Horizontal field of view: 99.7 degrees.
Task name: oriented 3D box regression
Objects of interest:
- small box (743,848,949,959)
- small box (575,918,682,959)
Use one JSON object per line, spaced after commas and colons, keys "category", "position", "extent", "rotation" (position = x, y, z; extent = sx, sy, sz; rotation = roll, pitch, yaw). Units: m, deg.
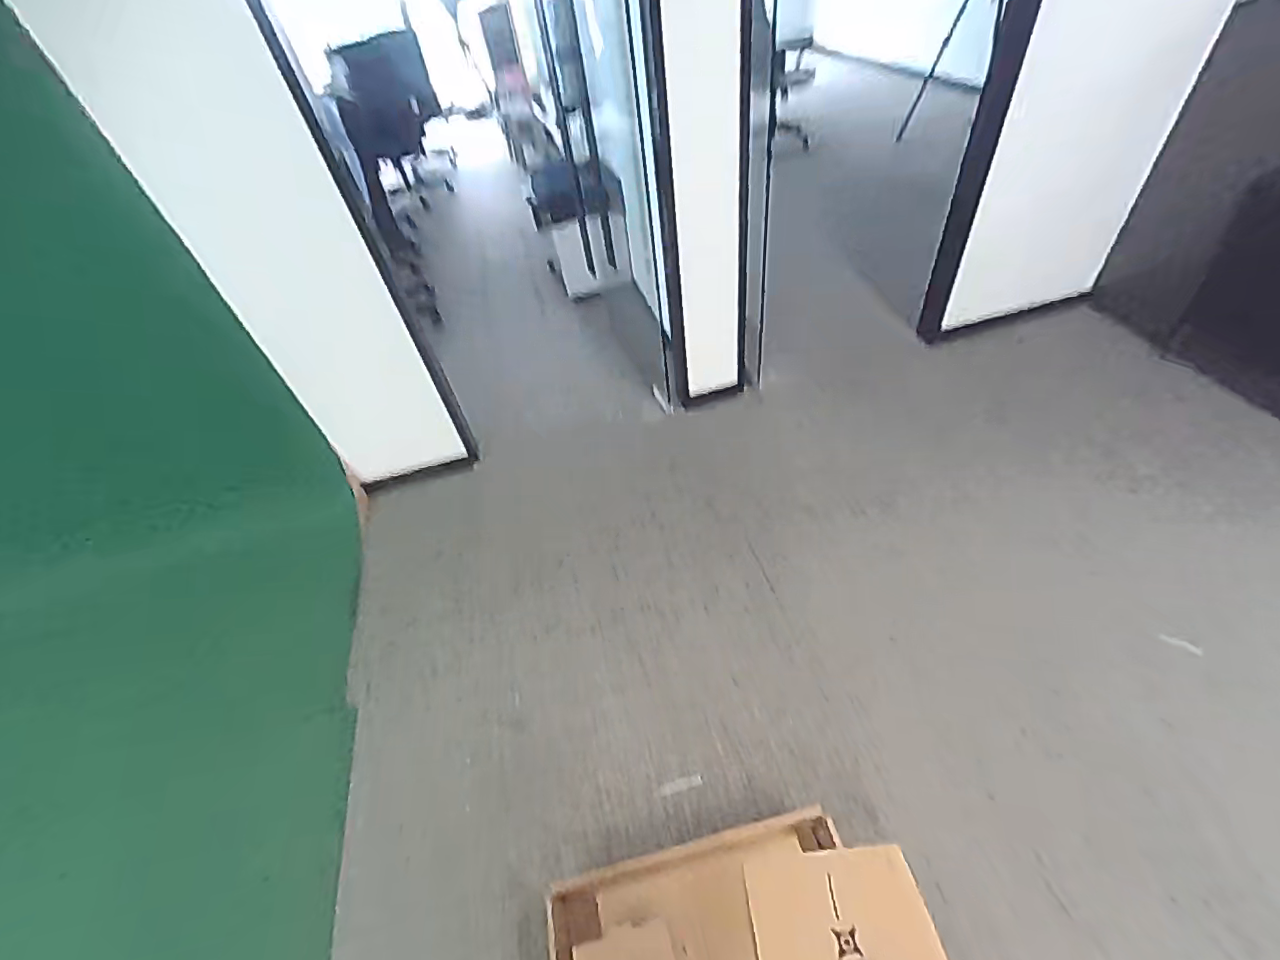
{"category": "small box", "position": [0.201, 0.496, 0.517], "extent": [0.168, 0.176, 0.179], "rotation": [-9, 28, 3]}
{"category": "small box", "position": [-0.002, 0.876, 0.904], "extent": [0.168, 0.176, 0.179], "rotation": [-16, 46, -5]}
